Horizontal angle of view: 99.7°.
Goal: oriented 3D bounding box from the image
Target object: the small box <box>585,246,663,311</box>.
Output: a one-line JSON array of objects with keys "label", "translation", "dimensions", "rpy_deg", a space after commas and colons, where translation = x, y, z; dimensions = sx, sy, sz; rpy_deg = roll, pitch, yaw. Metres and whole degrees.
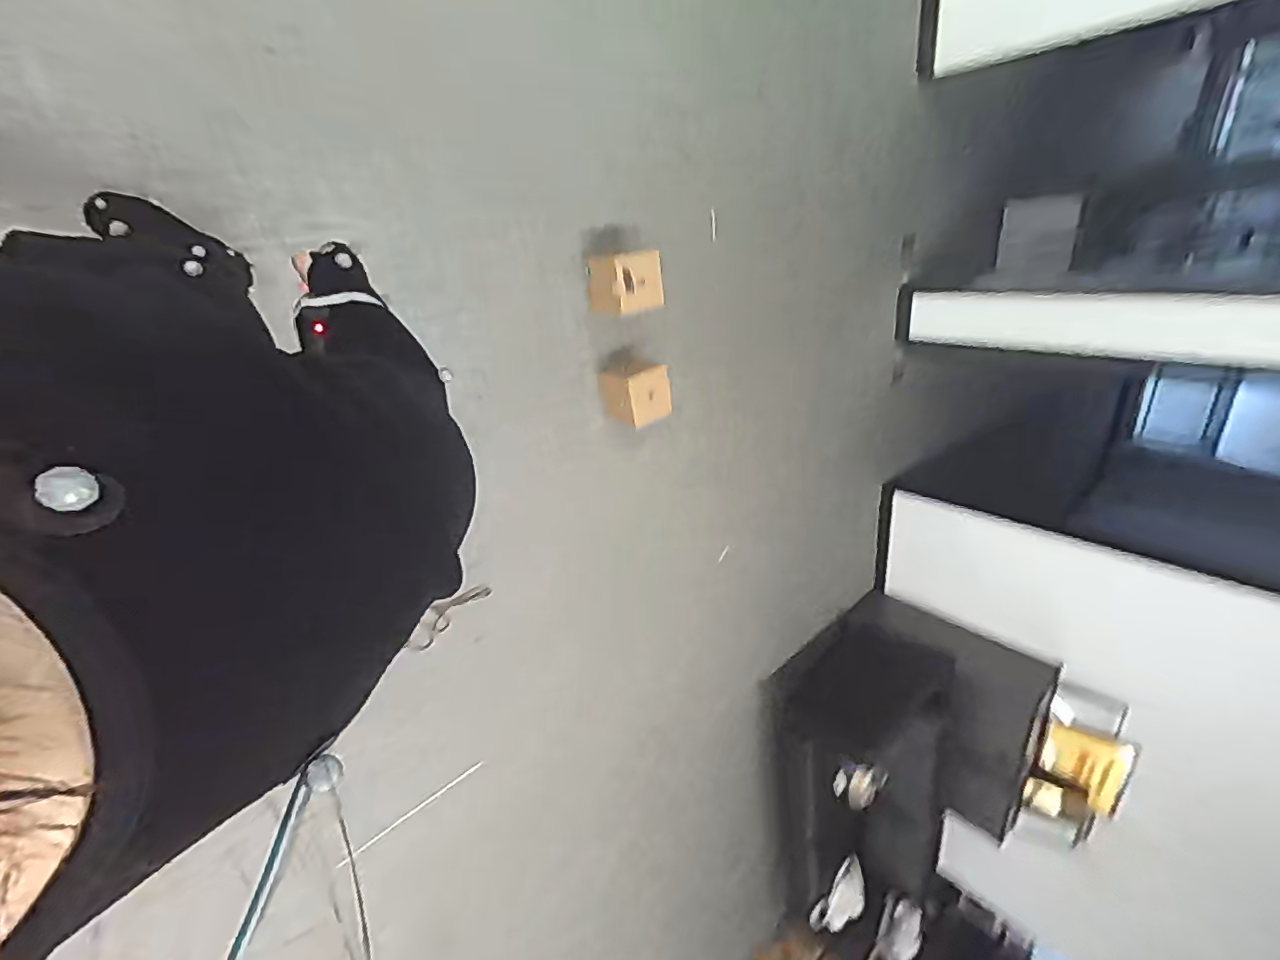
[{"label": "small box", "translation": [-0.055, -0.625, 1.679], "dimensions": [0.179, 0.176, 0.168], "rpy_deg": [-27, 122, -32]}]

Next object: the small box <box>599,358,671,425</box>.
[{"label": "small box", "translation": [-0.020, -0.307, 1.831], "dimensions": [0.168, 0.176, 0.179], "rpy_deg": [-29, 123, -30]}]
